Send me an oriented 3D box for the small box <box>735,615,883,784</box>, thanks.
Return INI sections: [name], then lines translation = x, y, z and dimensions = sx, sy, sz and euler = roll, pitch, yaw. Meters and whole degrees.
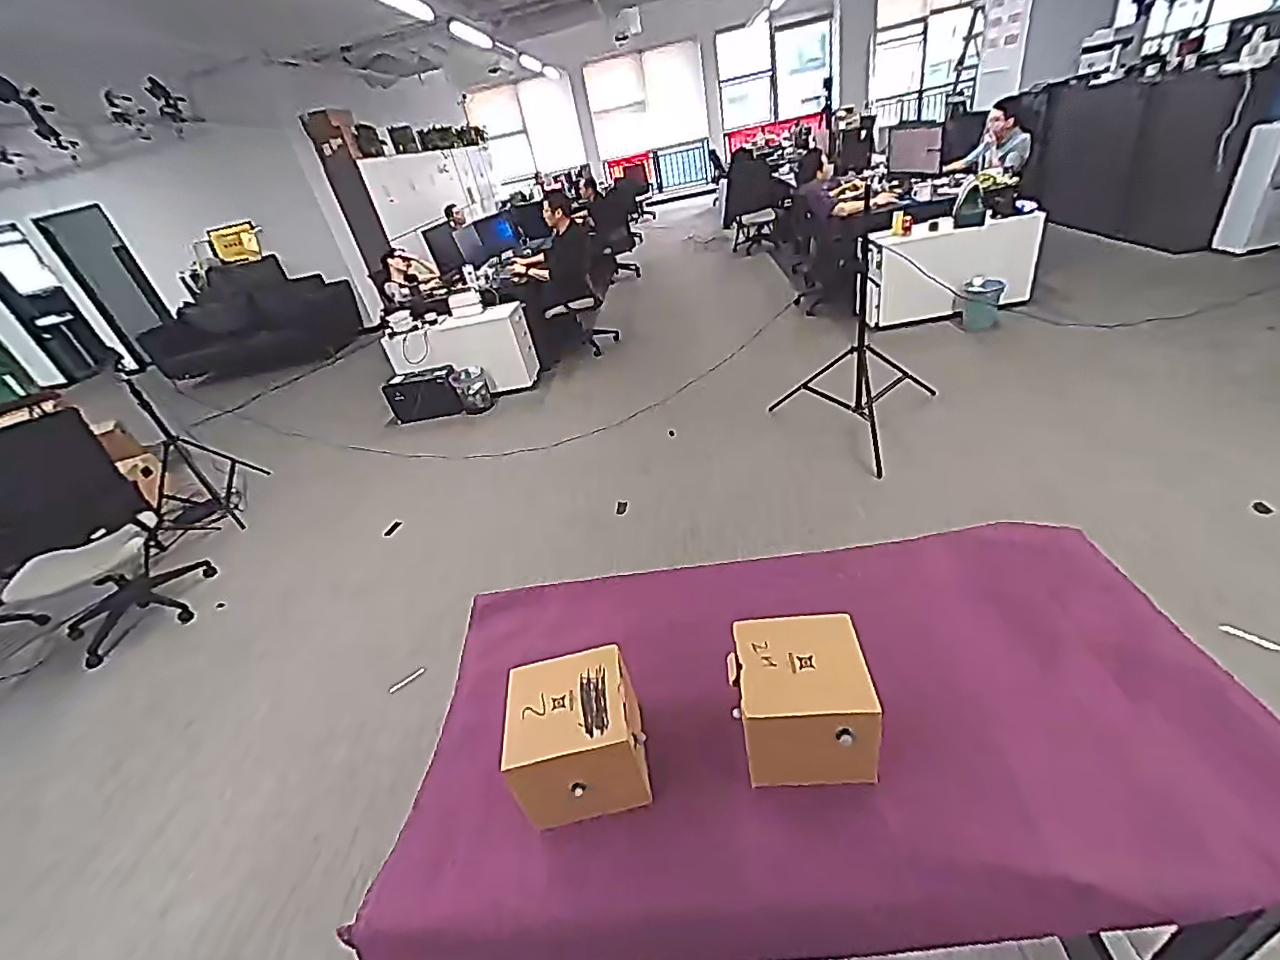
[small box]
translation = 0.240, 0.323, 0.797
dimensions = 0.179, 0.176, 0.168
euler = -8, 32, 9
